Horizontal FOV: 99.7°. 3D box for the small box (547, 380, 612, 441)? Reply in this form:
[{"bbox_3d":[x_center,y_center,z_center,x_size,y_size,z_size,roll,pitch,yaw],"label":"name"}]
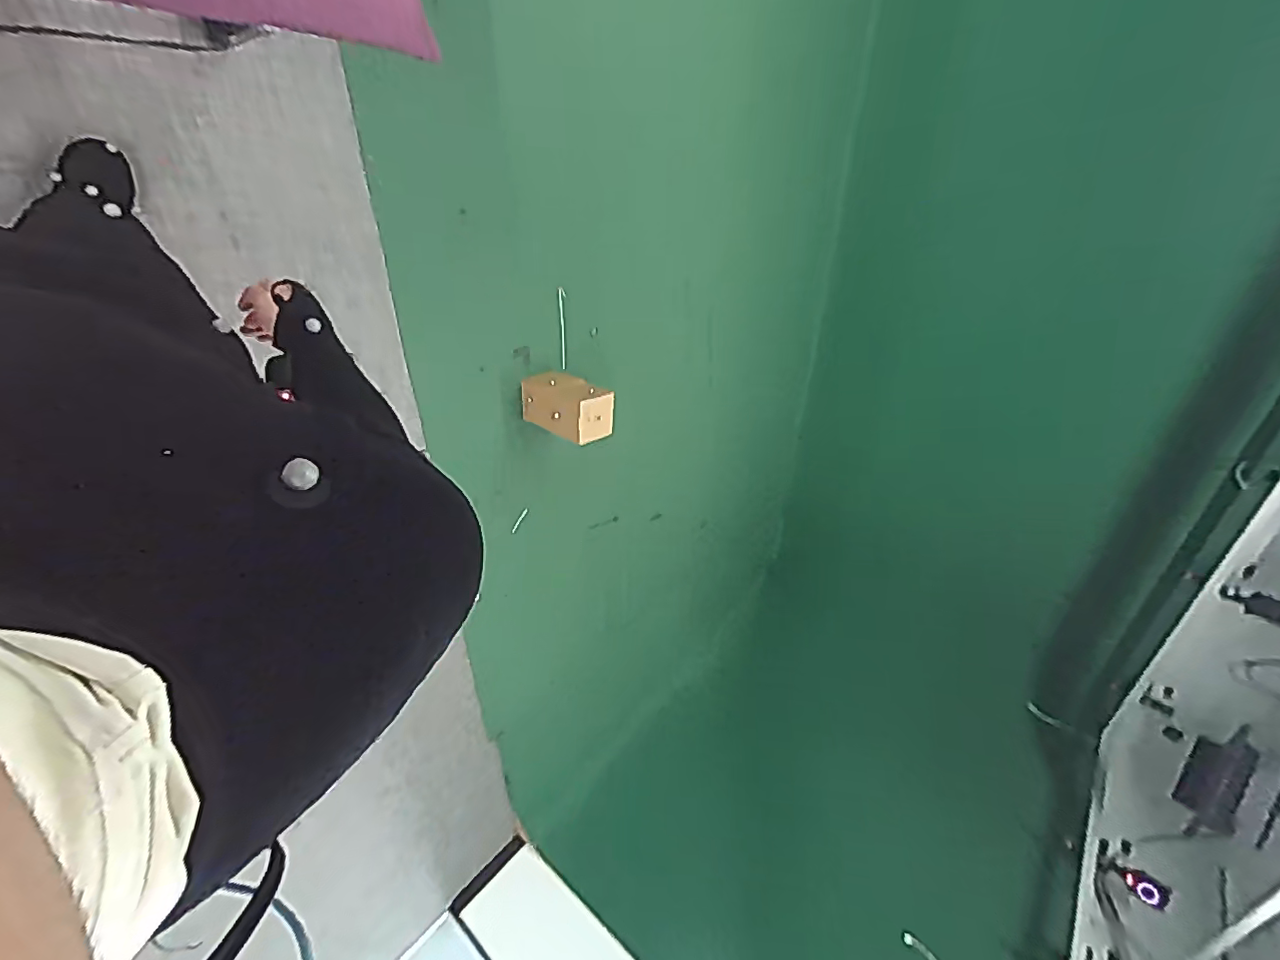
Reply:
[{"bbox_3d":[-0.226,-0.265,2.024,0.179,0.176,0.168,-24,129,-44],"label":"small box"}]

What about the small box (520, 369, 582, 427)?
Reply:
[{"bbox_3d":[-0.347,-0.327,2.117,0.179,0.176,0.168,-26,131,-42],"label":"small box"}]
